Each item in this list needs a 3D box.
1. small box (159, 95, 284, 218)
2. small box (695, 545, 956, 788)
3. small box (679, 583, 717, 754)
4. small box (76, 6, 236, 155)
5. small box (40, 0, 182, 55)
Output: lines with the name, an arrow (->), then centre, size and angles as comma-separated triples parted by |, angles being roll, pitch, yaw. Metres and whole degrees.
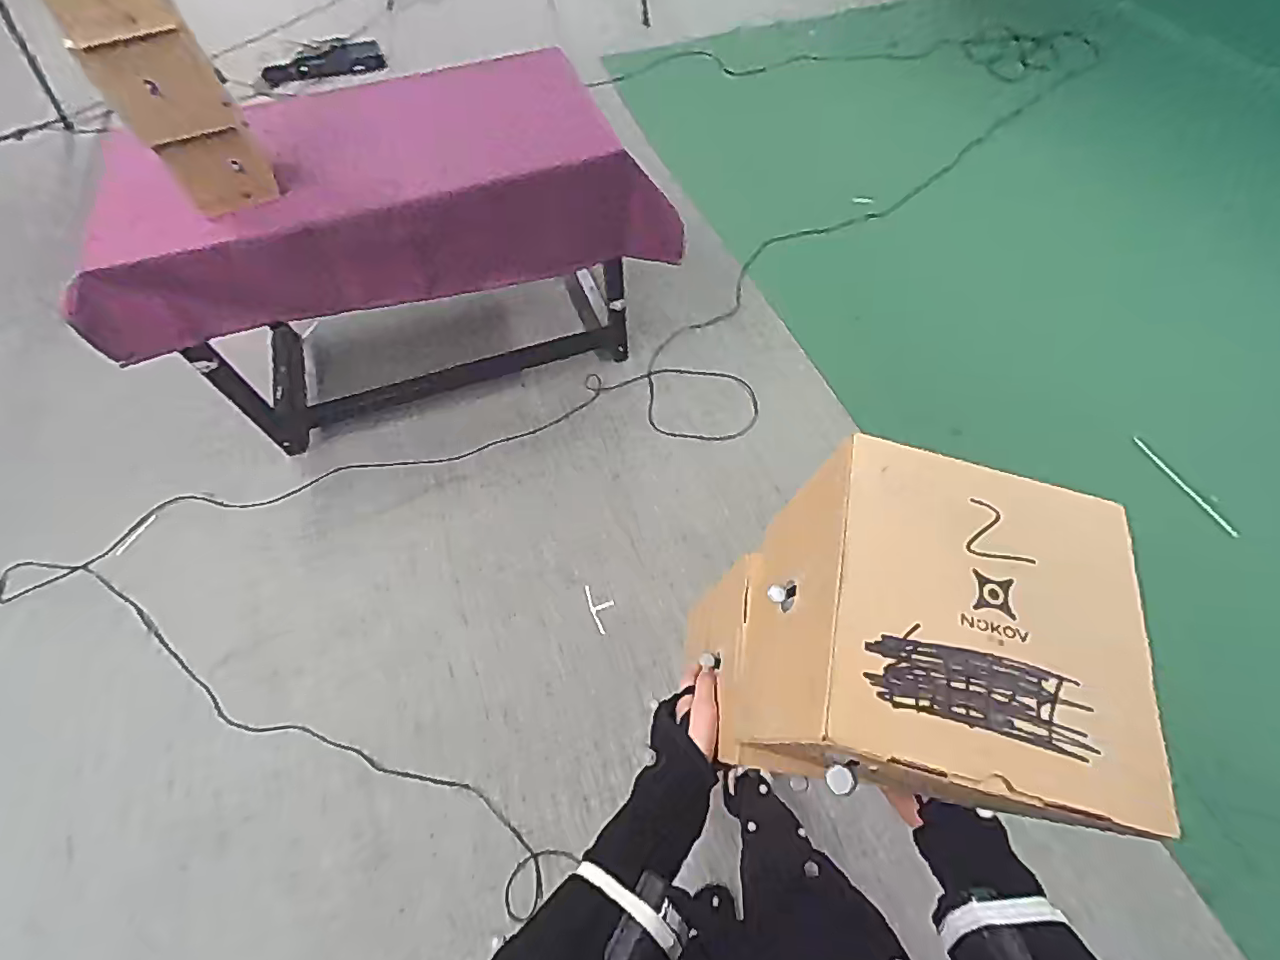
small box -> -0.930, -0.712, 1.207 | 0.168, 0.176, 0.179 | -24, 60, -13
small box -> 0.151, 0.174, 0.500 | 0.179, 0.176, 0.168 | 9, 65, 0
small box -> 0.142, 0.238, 0.652 | 0.168, 0.176, 0.179 | 6, 65, -2
small box -> -0.928, -0.775, 1.054 | 0.179, 0.176, 0.168 | -25, 61, -12
small box -> -0.921, -0.852, 0.911 | 0.168, 0.176, 0.179 | -28, 62, -14
